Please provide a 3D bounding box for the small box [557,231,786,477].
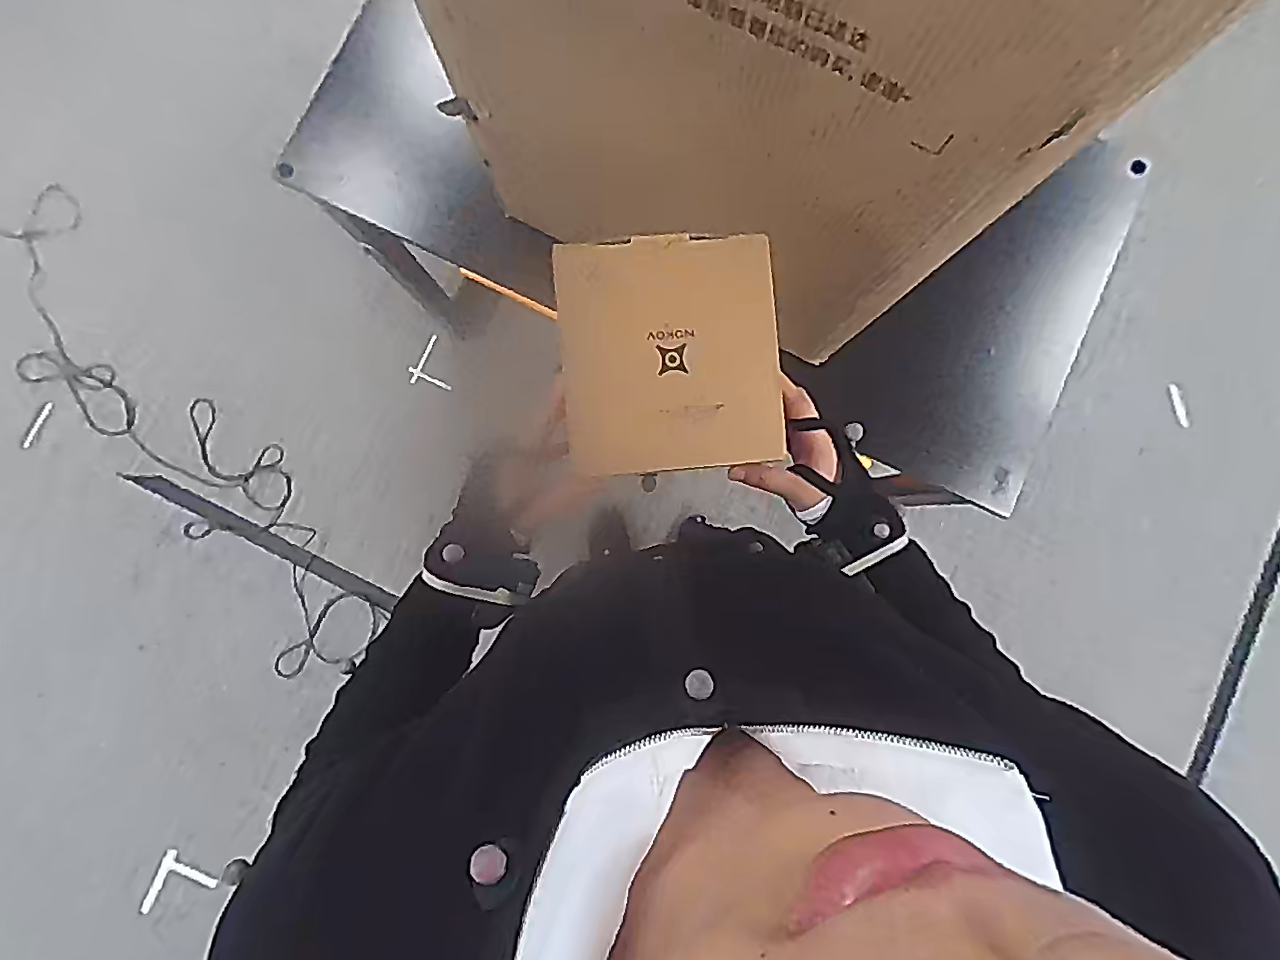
[{"bbox_3d":[0.017,-0.095,0.478,0.168,0.176,0.179,-4,91,-5],"label":"small box"}]
